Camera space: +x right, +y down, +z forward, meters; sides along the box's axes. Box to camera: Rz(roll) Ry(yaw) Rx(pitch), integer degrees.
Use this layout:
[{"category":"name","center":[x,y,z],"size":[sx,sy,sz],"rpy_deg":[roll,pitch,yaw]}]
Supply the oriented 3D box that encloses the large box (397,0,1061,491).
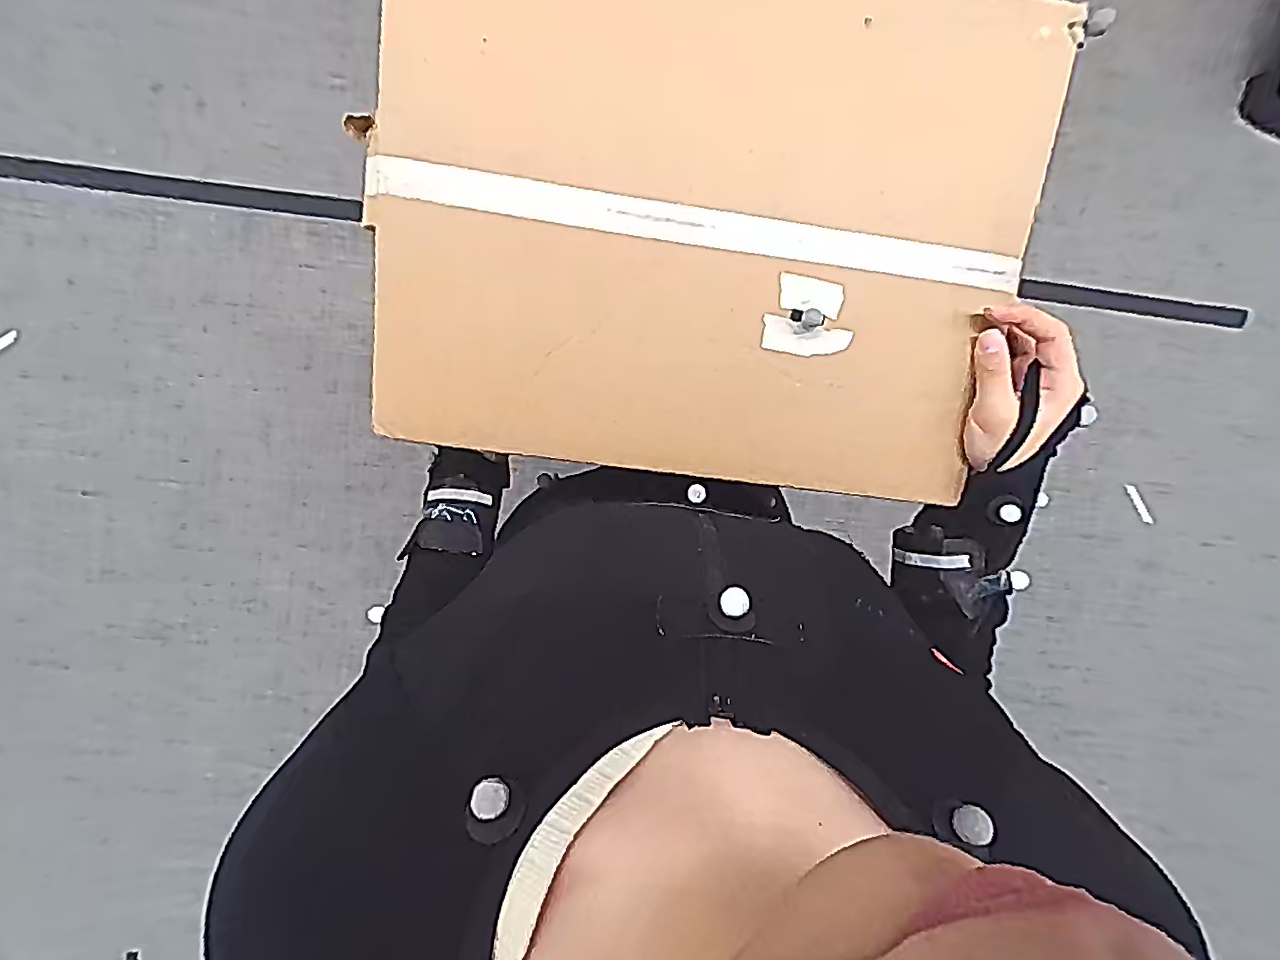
[{"category":"large box","center":[0.037,-0.188,0.490],"size":[0.408,0.320,0.320],"rpy_deg":[6,102,-6]}]
